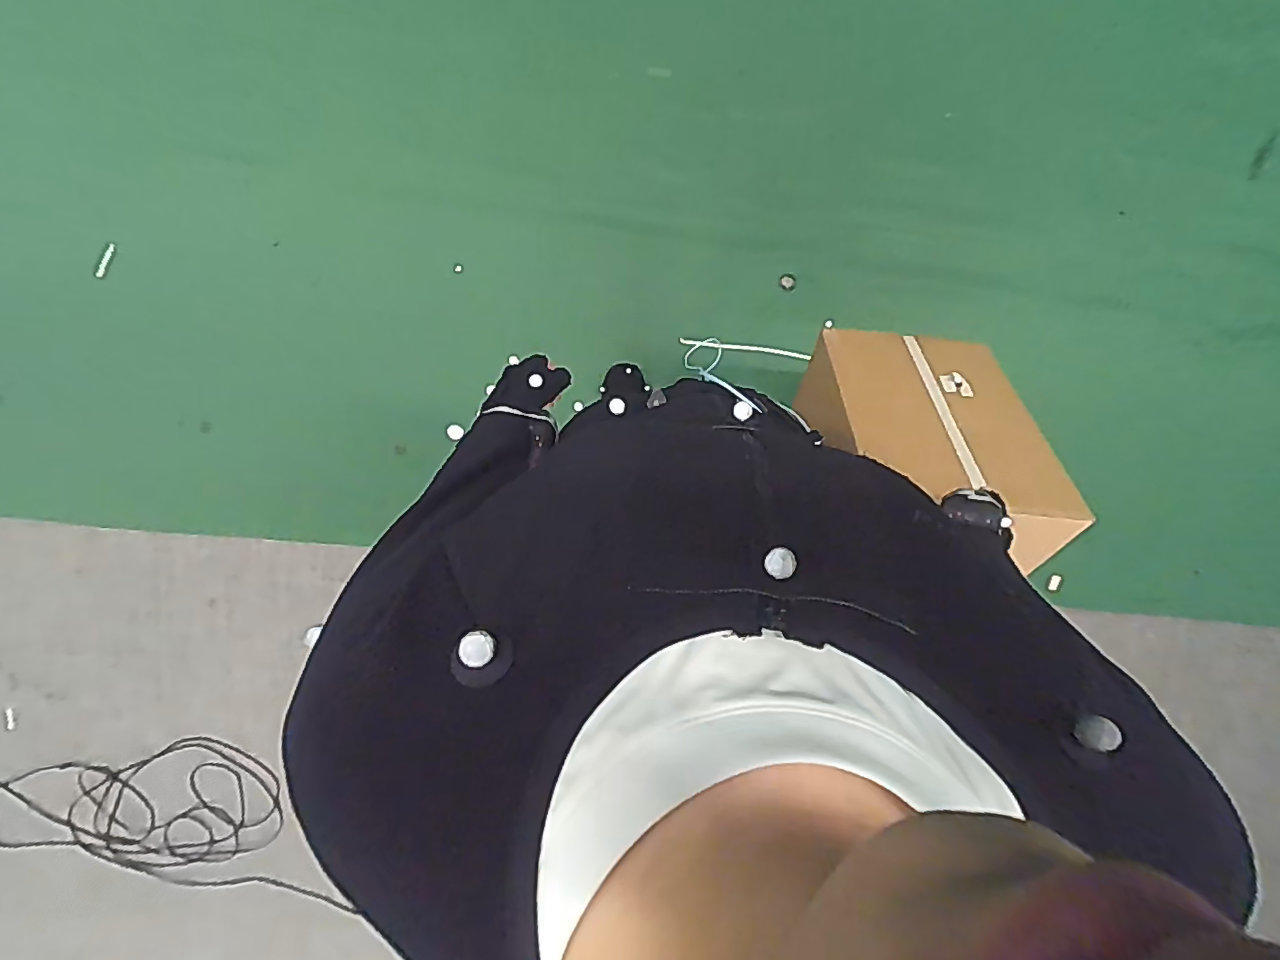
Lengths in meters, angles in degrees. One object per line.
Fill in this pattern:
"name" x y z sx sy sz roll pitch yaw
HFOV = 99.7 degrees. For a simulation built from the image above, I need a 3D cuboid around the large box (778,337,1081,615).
"large box" 0.463 -0.006 0.988 0.320 0.408 0.320 6 139 -3
